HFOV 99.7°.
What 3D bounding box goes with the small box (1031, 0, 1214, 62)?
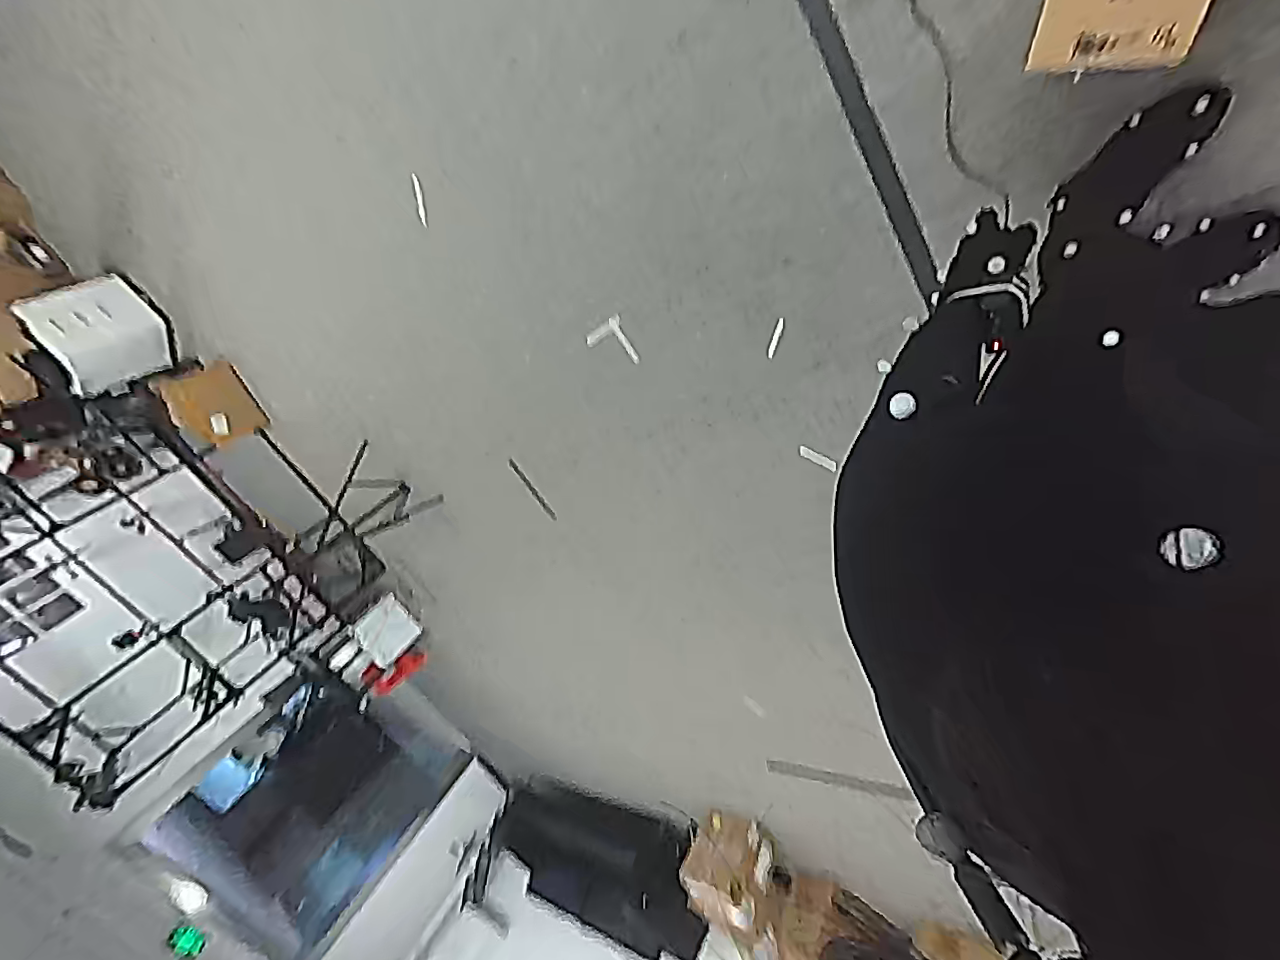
[{"bbox_3d":[0.609,-0.635,0.666,0.168,0.176,0.179,17,134,27],"label":"small box"}]
